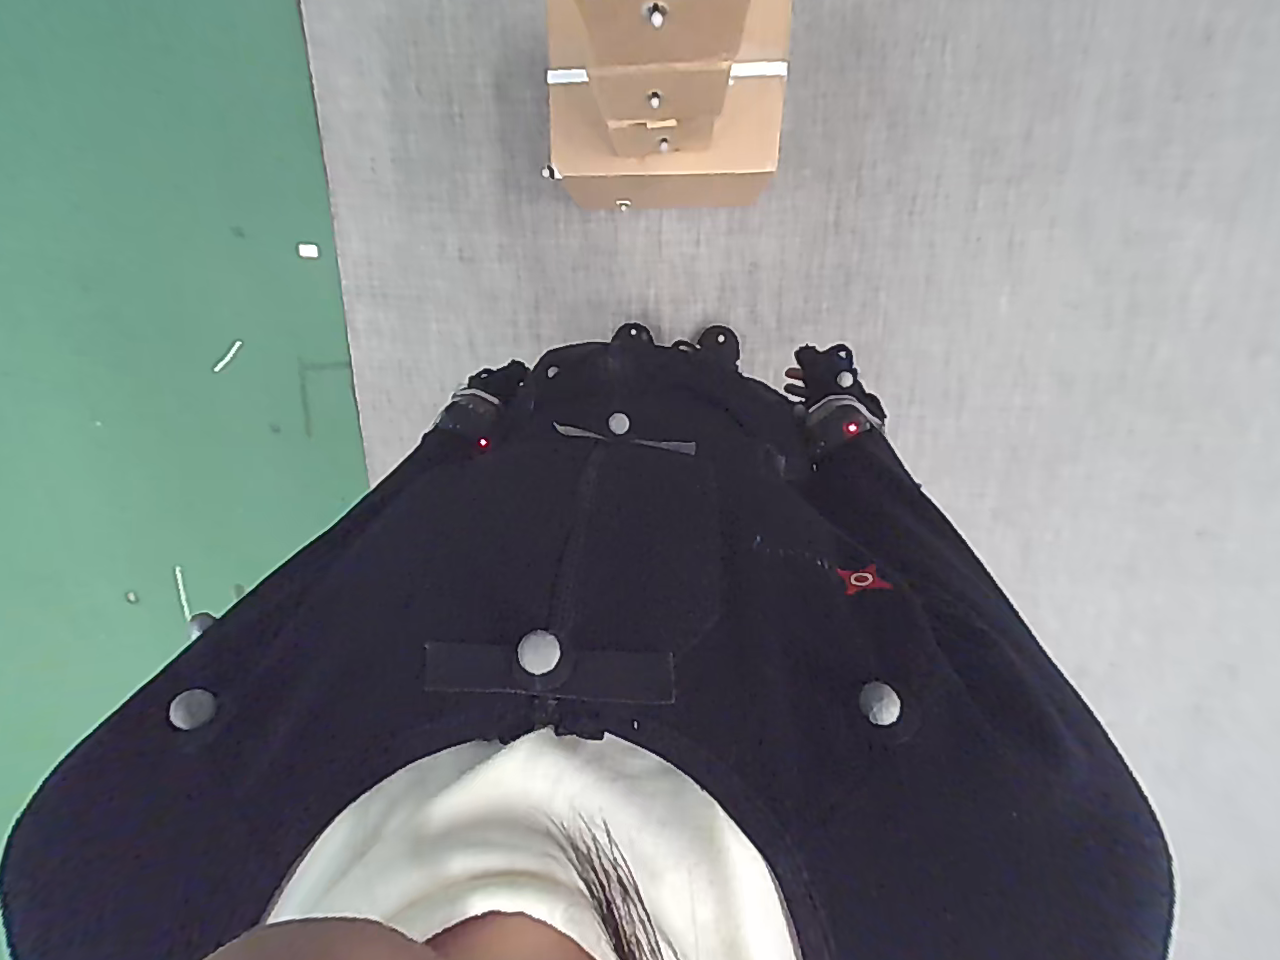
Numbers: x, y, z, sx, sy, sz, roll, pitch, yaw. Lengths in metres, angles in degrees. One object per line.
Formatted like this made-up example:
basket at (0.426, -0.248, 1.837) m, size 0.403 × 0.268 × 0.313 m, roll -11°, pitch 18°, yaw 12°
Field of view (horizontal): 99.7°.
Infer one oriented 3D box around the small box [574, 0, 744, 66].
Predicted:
small box at (0.018, -0.545, 0.540) m, size 0.179 × 0.176 × 0.168 m, roll -1°, pitch 108°, yaw 4°

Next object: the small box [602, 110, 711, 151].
small box at (0.028, -0.637, 0.853) m, size 0.168 × 0.176 × 0.179 m, roll -2°, pitch 108°, yaw 5°

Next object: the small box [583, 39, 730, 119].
small box at (0.024, -0.586, 0.696) m, size 0.179 × 0.176 × 0.168 m, roll 1°, pitch 107°, yaw 5°
